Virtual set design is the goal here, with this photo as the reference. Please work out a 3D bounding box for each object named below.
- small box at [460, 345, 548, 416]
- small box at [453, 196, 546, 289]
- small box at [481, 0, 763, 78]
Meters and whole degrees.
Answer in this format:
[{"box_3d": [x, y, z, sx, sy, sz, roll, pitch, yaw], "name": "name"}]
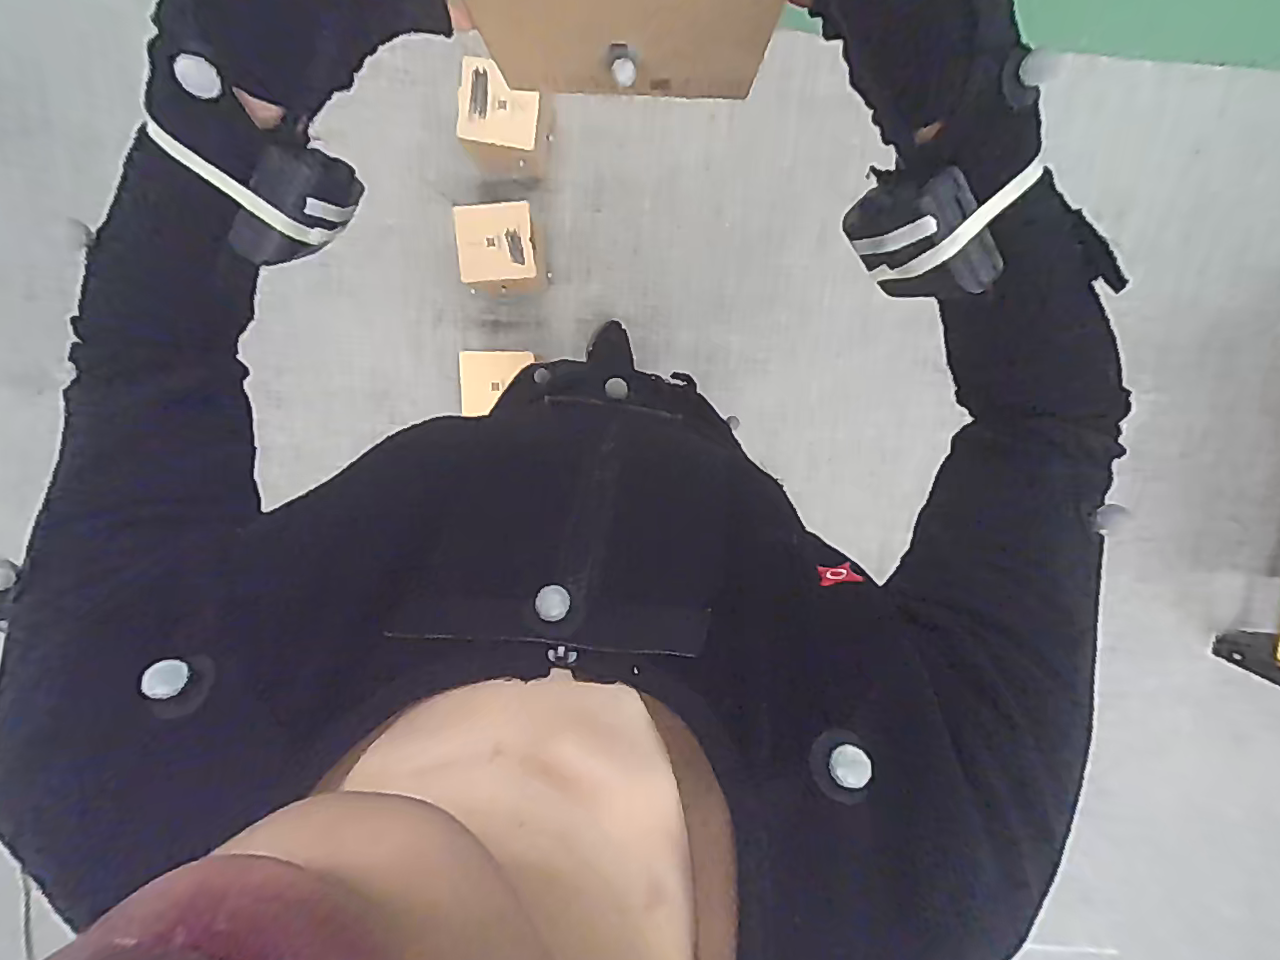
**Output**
[{"box_3d": [-0.332, -0.245, 1.345, 0.179, 0.176, 0.168, 0, 101, 0], "name": "small box"}, {"box_3d": [-0.324, -0.558, 1.288, 0.179, 0.176, 0.168, -4, 100, 2], "name": "small box"}, {"box_3d": [-0.011, -0.339, 0.262, 0.168, 0.176, 0.179, 3, 103, 1], "name": "small box"}]
